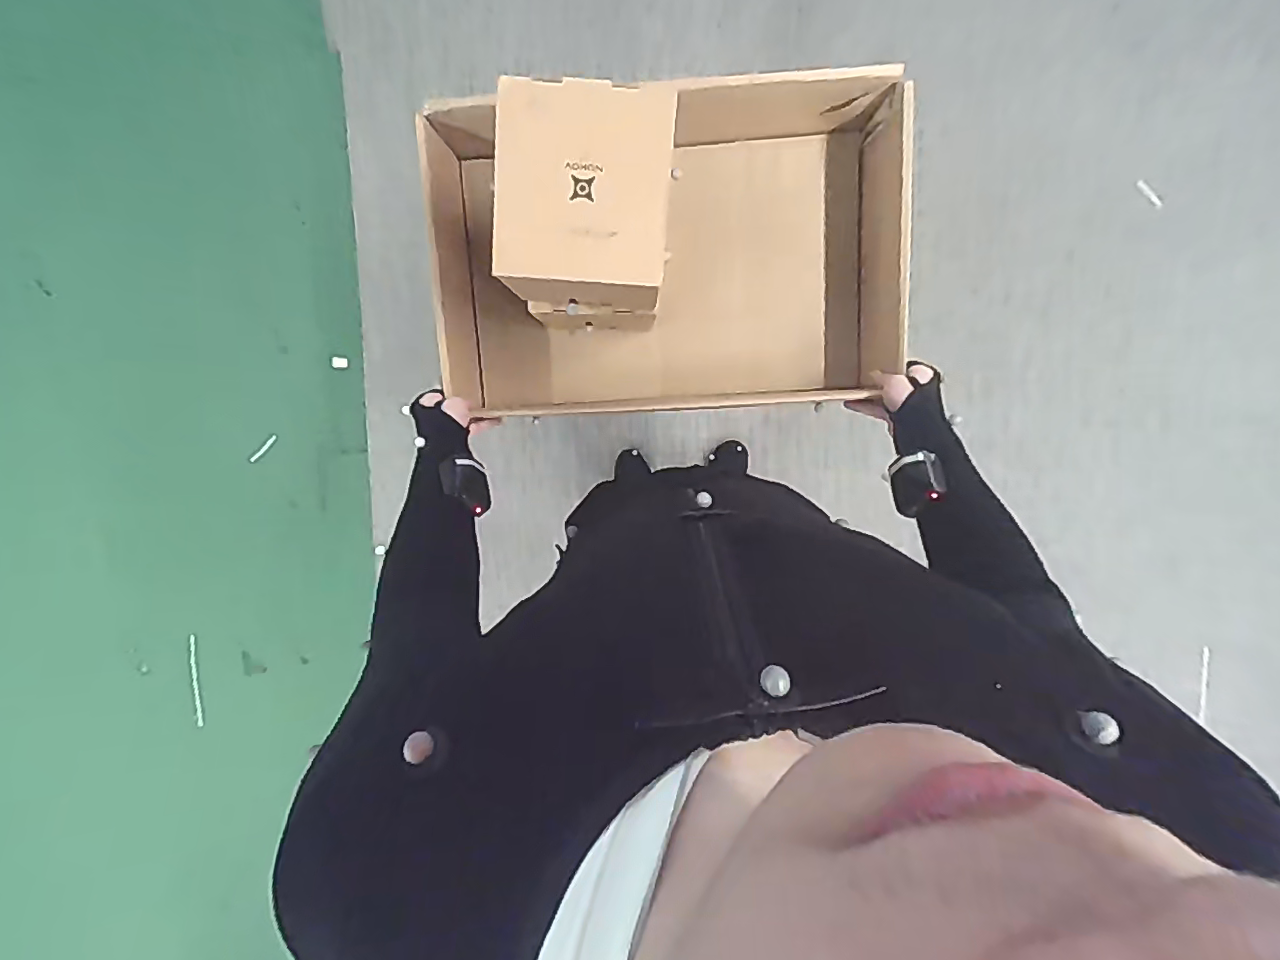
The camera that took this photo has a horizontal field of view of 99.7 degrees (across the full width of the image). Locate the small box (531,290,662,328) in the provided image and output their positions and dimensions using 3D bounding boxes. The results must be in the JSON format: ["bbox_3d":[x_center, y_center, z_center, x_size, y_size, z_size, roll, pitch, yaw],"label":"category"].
[{"bbox_3d":[-0.055,-0.310,0.741,0.168,0.176,0.179,1,100,-2],"label":"small box"}]

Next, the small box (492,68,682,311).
[{"bbox_3d":[-0.052,-0.290,0.579,0.168,0.176,0.179,5,99,-1],"label":"small box"}]
